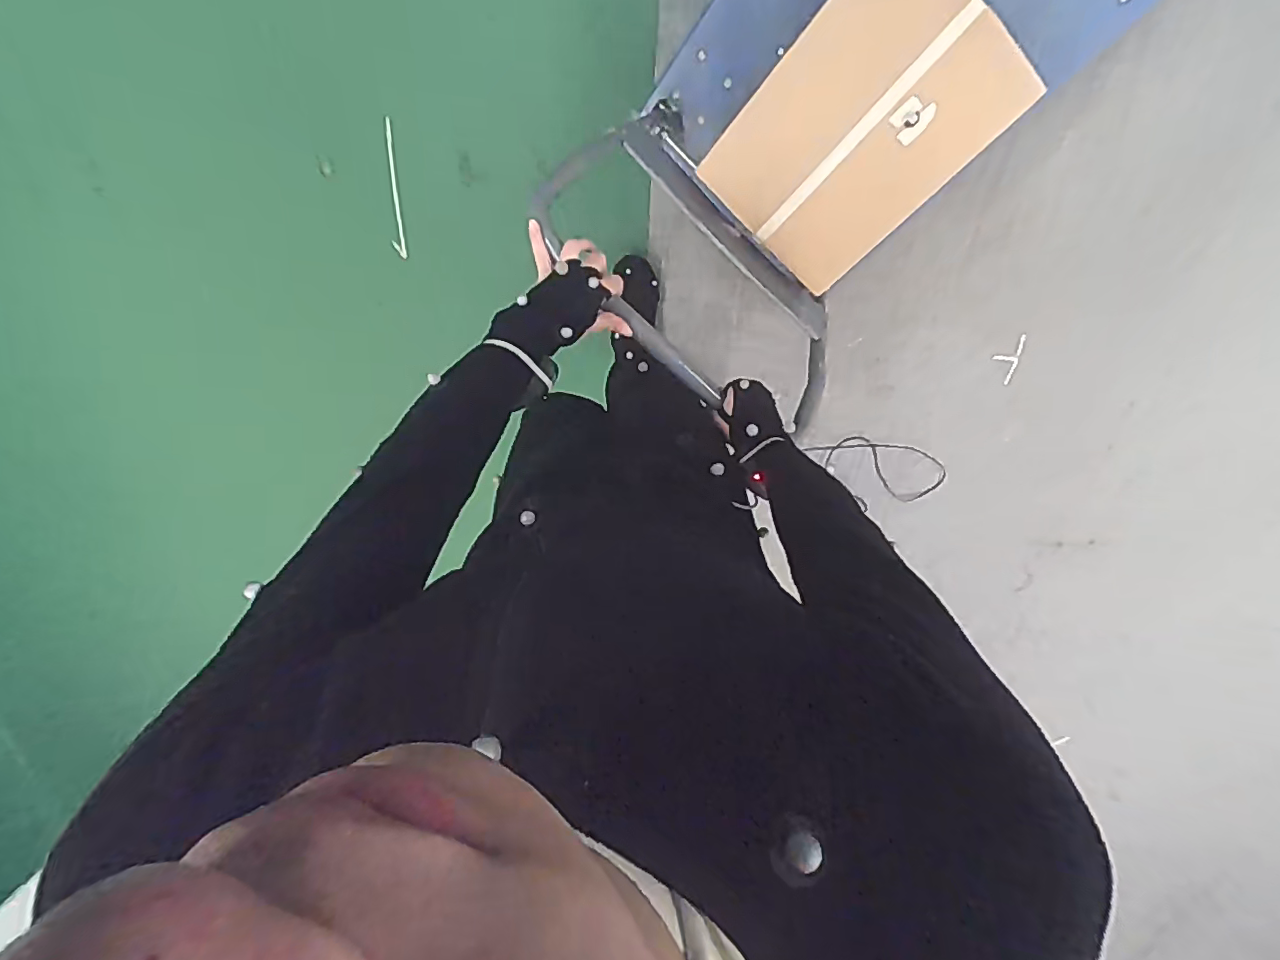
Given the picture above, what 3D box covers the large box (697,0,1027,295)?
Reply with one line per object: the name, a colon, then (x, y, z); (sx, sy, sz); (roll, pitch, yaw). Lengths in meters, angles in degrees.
large box: (0.362, -0.624, 0.974); (0.320, 0.320, 0.408); (40, 126, -15)
